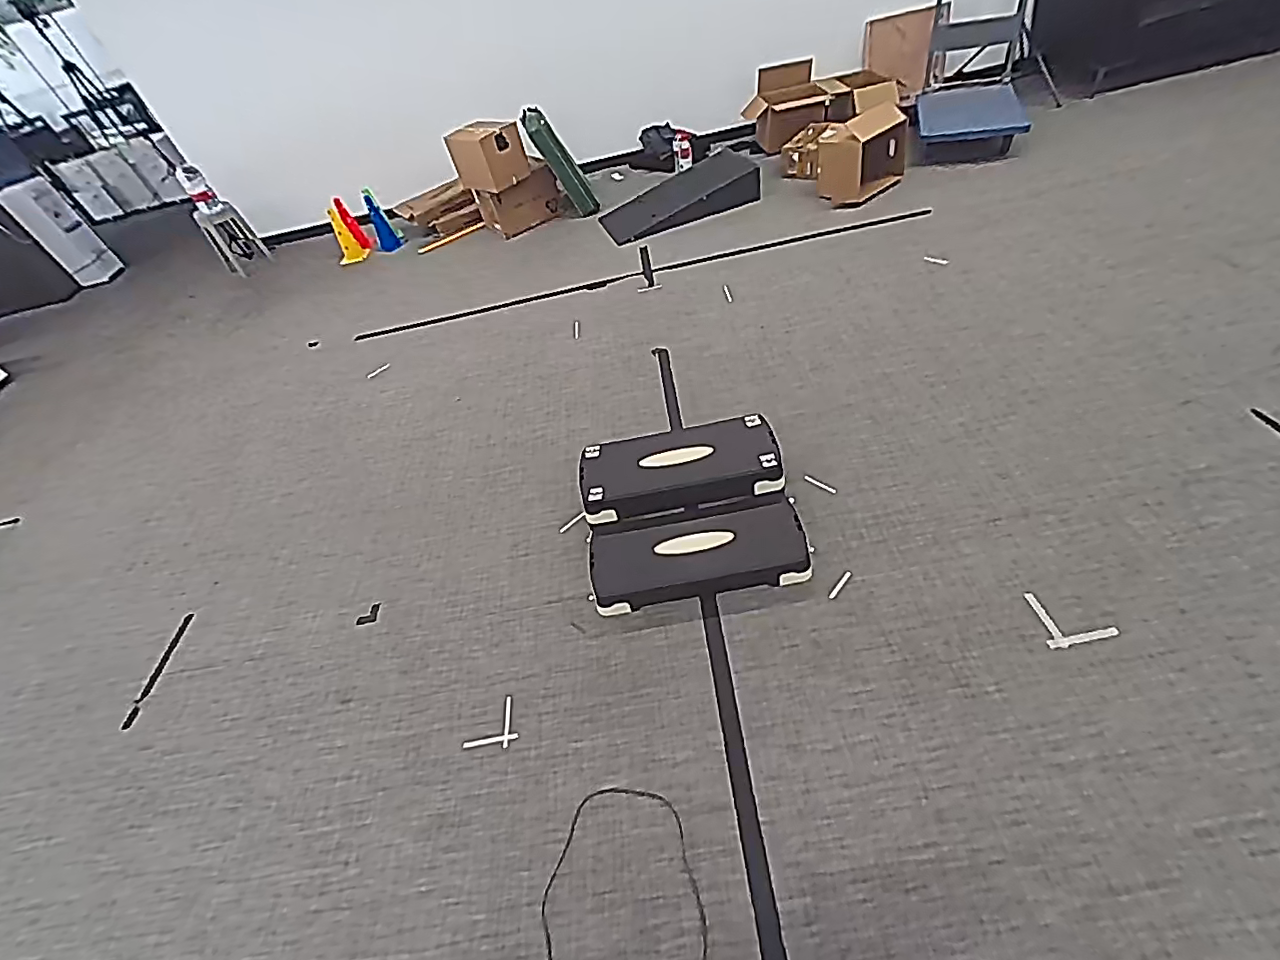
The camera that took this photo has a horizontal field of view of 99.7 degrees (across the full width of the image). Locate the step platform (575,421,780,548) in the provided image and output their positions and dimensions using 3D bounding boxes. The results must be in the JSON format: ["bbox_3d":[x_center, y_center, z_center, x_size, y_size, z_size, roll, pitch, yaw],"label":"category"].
[{"bbox_3d":[0.120,0.011,1.841,0.684,0.204,0.286,-11,47,3],"label":"step platform"}]
